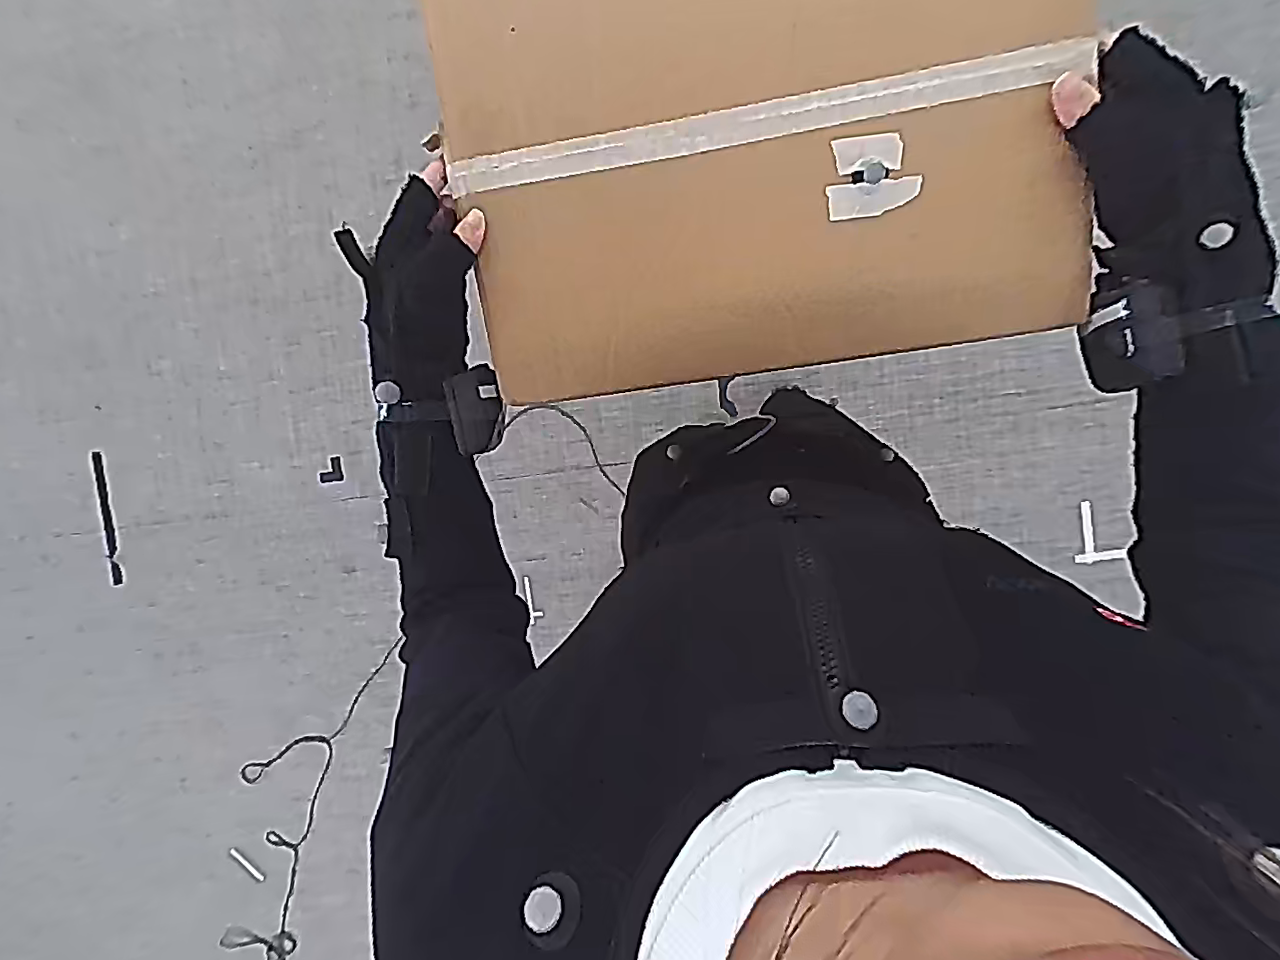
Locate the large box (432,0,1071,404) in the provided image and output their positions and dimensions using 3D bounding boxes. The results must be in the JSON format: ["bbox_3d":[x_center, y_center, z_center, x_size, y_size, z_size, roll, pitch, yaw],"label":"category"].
[{"bbox_3d":[0.084,-0.265,0.507,0.408,0.320,0.320,-8,103,5],"label":"large box"}]
